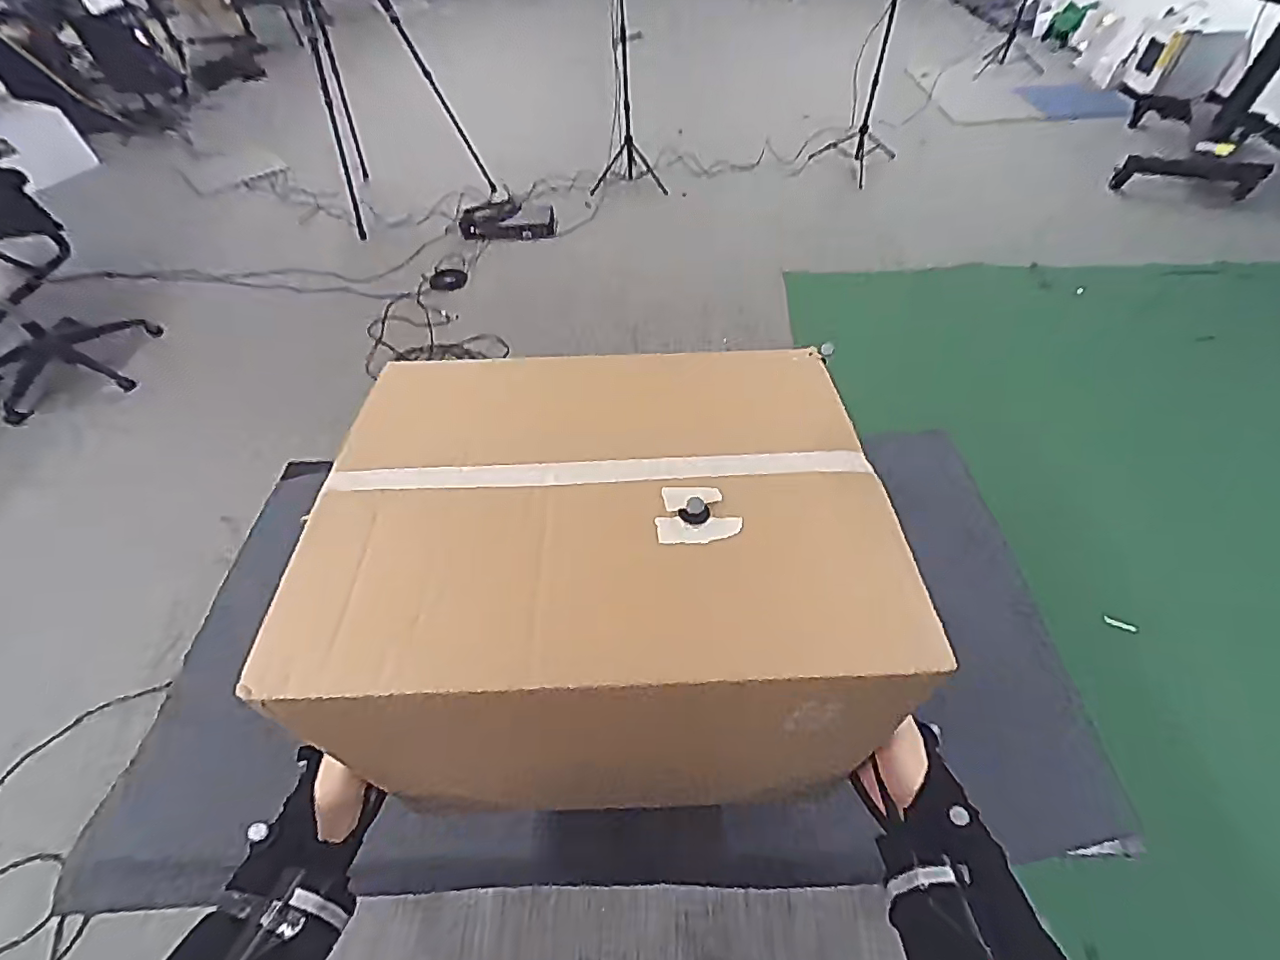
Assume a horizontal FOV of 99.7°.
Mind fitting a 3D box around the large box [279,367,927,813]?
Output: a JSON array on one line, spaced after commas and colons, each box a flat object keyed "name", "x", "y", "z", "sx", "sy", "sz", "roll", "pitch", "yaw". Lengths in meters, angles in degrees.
[{"name": "large box", "x": -0.026, "y": 0.110, "z": 0.534, "sx": 0.408, "sy": 0.320, "sz": 0.320, "roll": -2, "pitch": 48, "yaw": -1}]
